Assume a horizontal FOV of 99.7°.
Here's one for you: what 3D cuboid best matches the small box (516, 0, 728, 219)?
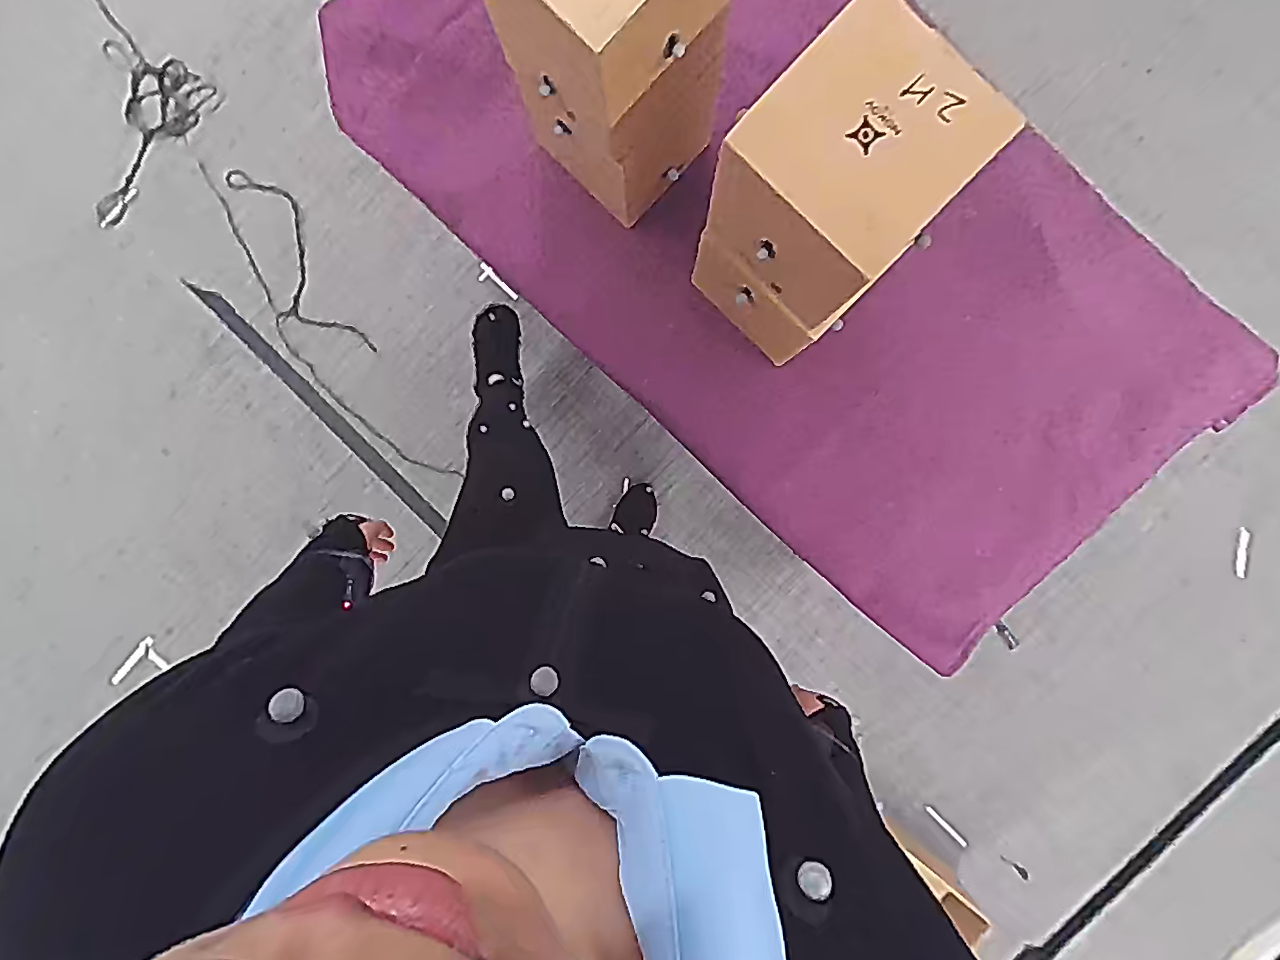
[{"bbox_3d":[-0.019,-0.466,0.668,0.179,0.176,0.168,44,93,-1],"label":"small box"}]

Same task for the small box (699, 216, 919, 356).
[{"bbox_3d":[0.192,-0.273,0.671,0.179,0.176,0.168,45,92,0],"label":"small box"}]

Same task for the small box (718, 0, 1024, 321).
[{"bbox_3d":[0.188,-0.279,0.506,0.168,0.176,0.179,45,92,0],"label":"small box"}]
